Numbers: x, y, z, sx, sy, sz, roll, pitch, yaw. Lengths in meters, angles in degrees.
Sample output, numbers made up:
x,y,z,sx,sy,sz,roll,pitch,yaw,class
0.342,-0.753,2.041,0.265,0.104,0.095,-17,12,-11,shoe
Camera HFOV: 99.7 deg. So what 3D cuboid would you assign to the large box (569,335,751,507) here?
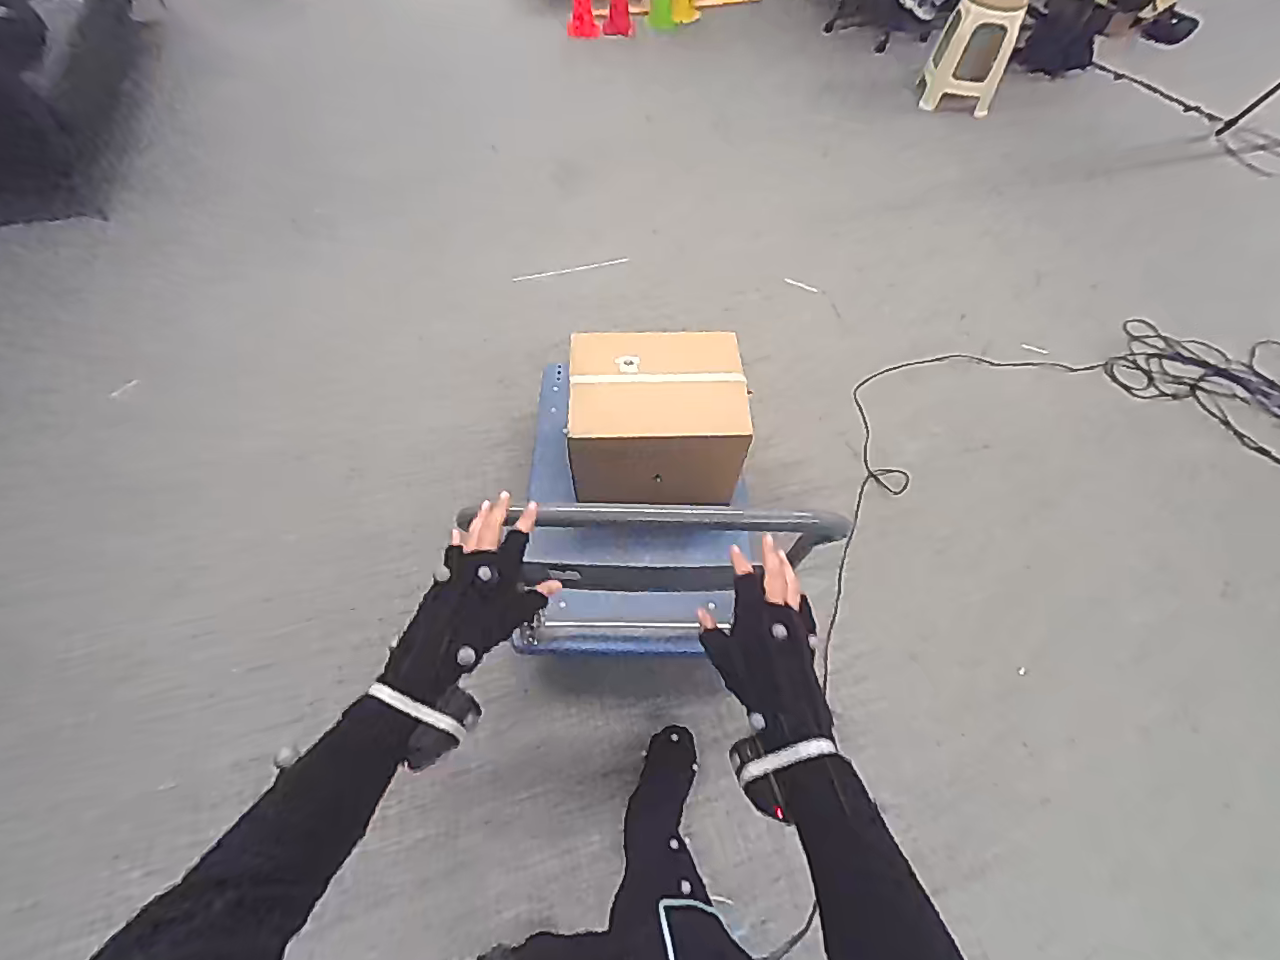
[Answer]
x,y,z,sx,sy,sz,roll,pitch,yaw,class
0.036,-0.140,1.374,0.408,0.320,0.320,-2,59,-2,large box
